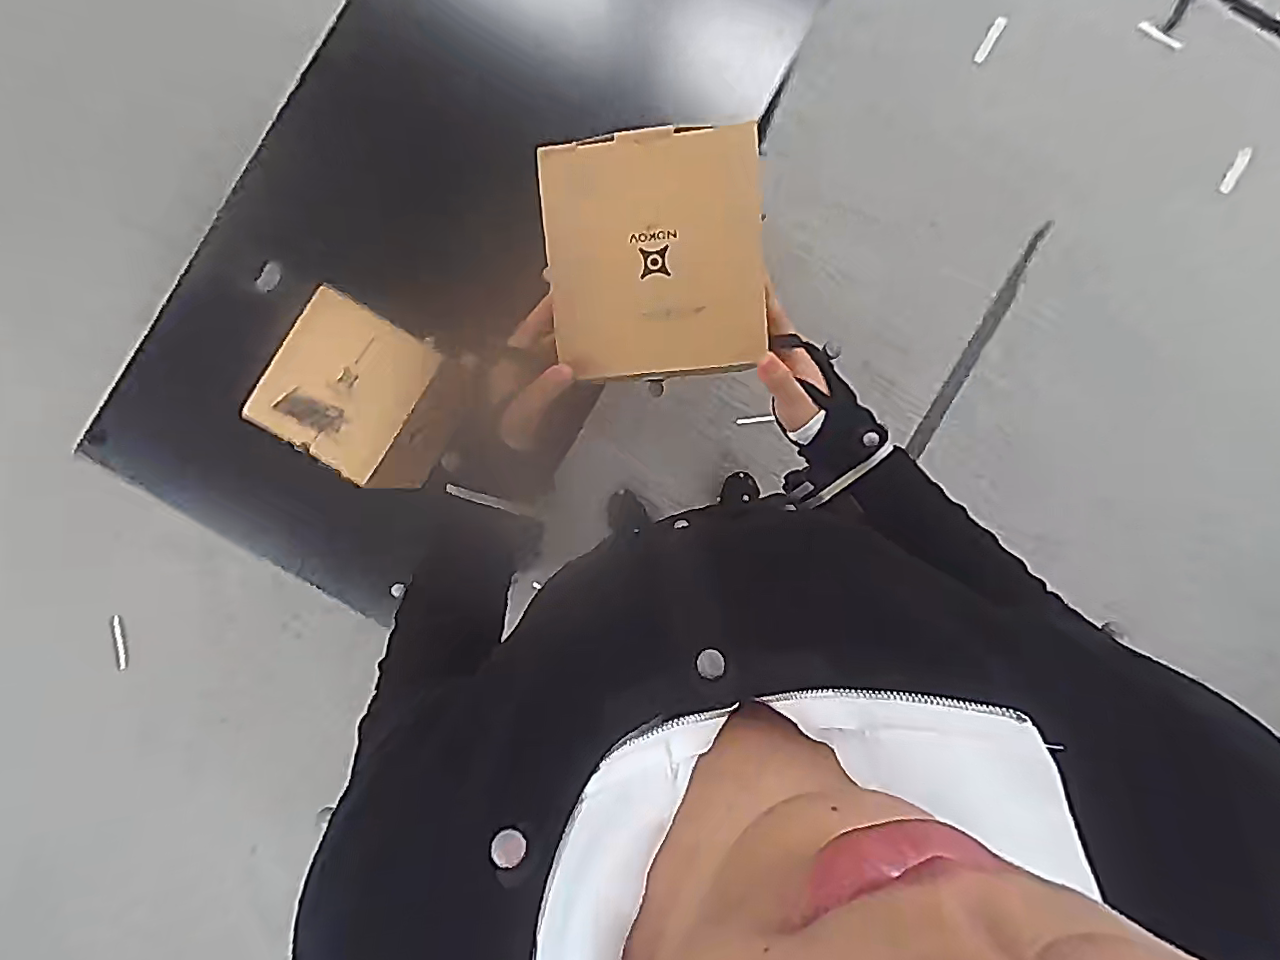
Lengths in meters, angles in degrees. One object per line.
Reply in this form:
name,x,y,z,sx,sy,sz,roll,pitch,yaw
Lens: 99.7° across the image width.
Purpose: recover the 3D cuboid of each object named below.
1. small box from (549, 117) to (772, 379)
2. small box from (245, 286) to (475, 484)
small box,0.022,-0.187,0.490,0.168,0.176,0.179,-3,99,5
small box,-0.338,-0.106,0.695,0.168,0.176,0.179,31,88,-1
